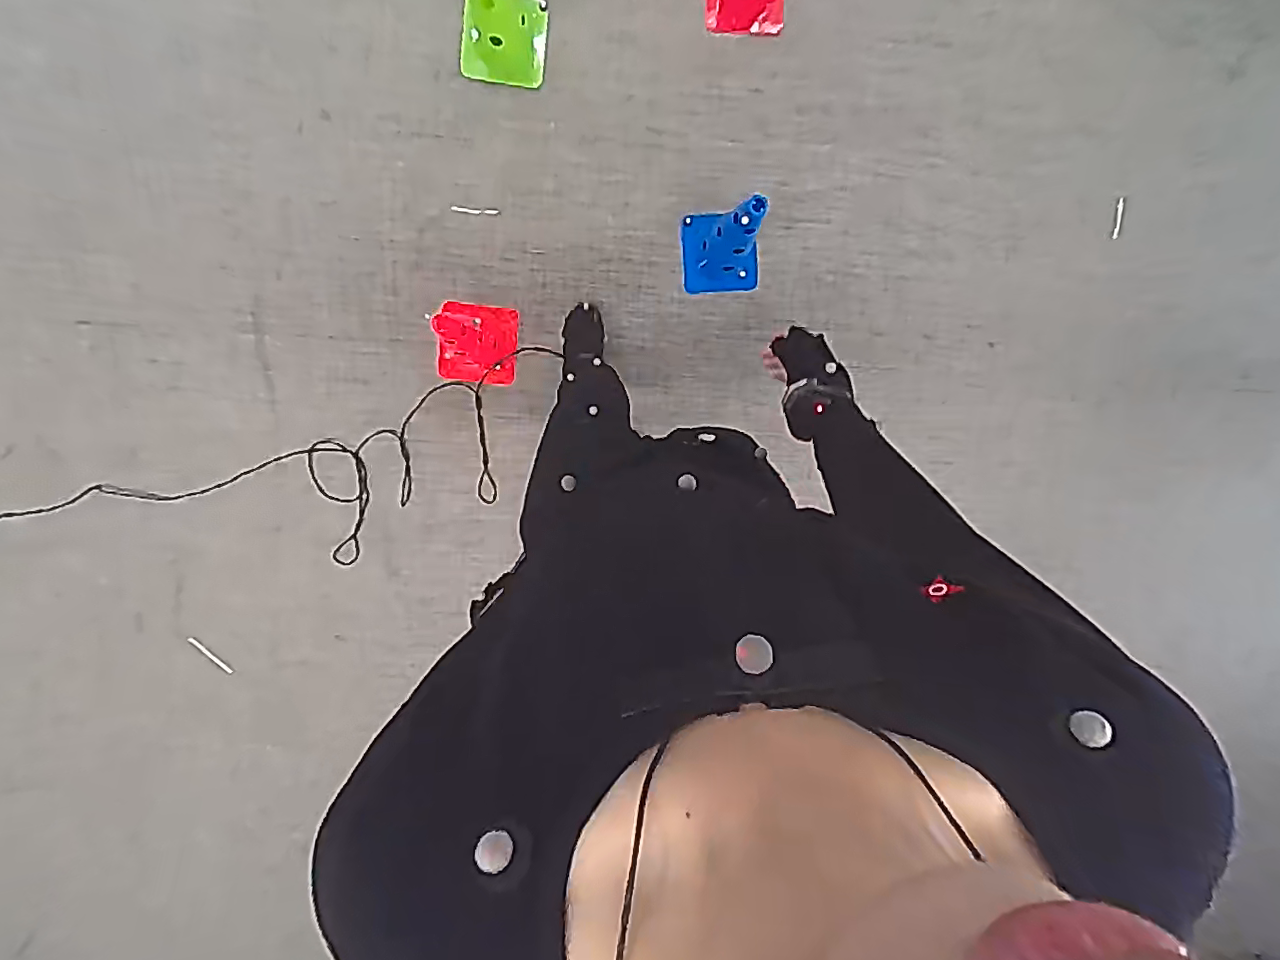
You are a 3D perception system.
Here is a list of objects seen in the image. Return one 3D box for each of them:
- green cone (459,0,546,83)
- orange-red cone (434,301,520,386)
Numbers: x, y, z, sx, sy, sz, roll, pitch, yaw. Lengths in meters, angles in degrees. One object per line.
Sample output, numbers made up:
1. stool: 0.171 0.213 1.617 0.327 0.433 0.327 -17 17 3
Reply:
1. green cone: -0.323 -1.056 1.142 0.200 0.368 0.202 5 98 -4
2. orange-red cone: -0.405 -0.335 1.238 0.198 0.360 0.199 7 96 -6
